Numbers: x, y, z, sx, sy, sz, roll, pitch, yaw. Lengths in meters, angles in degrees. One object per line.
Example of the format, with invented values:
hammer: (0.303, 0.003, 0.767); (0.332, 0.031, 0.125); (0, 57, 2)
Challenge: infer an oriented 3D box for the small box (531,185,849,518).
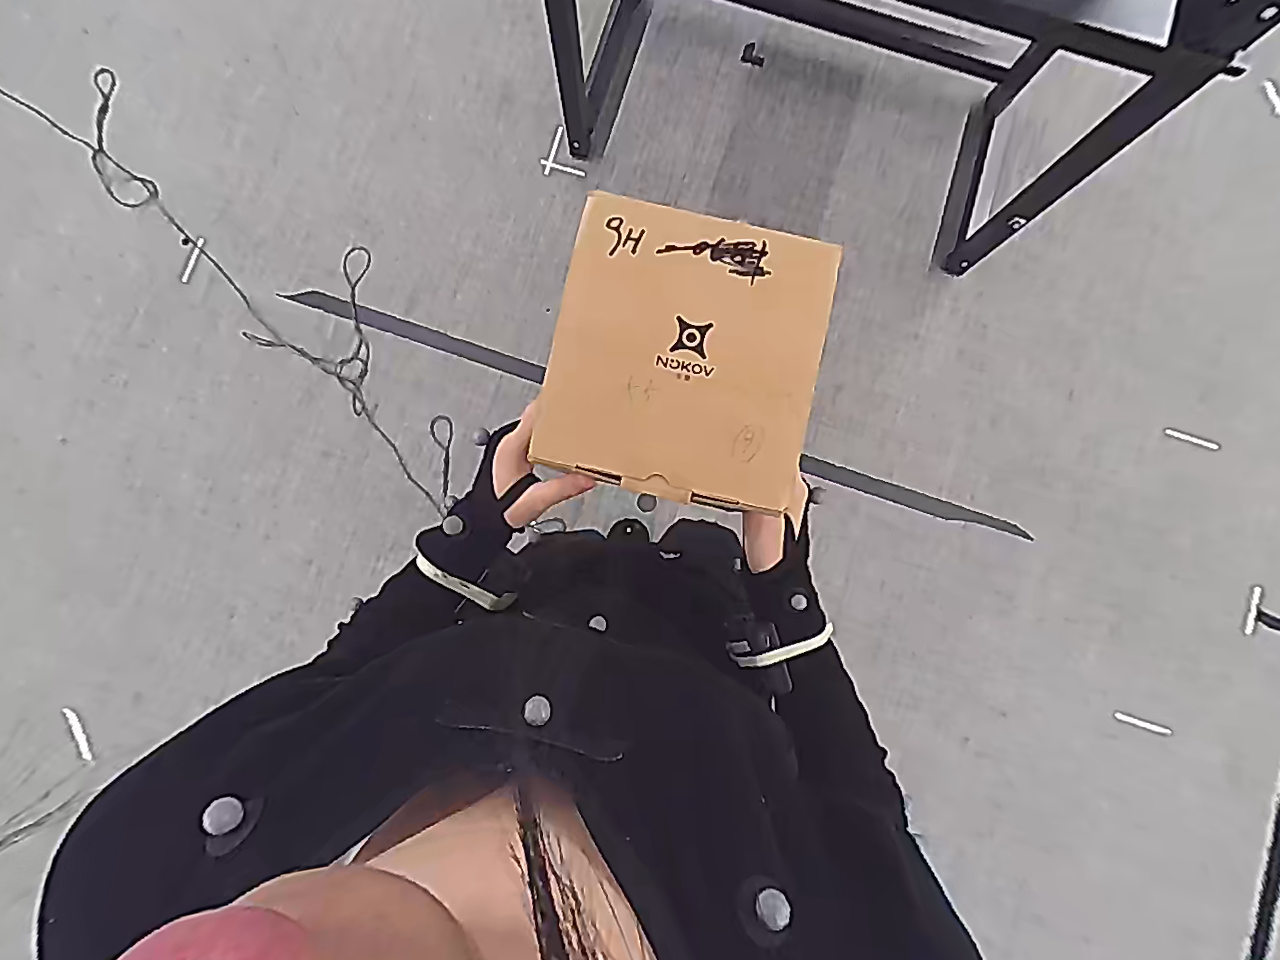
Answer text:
small box: (0.029, -0.077, 0.408); (0.168, 0.176, 0.179); (13, 88, -2)
